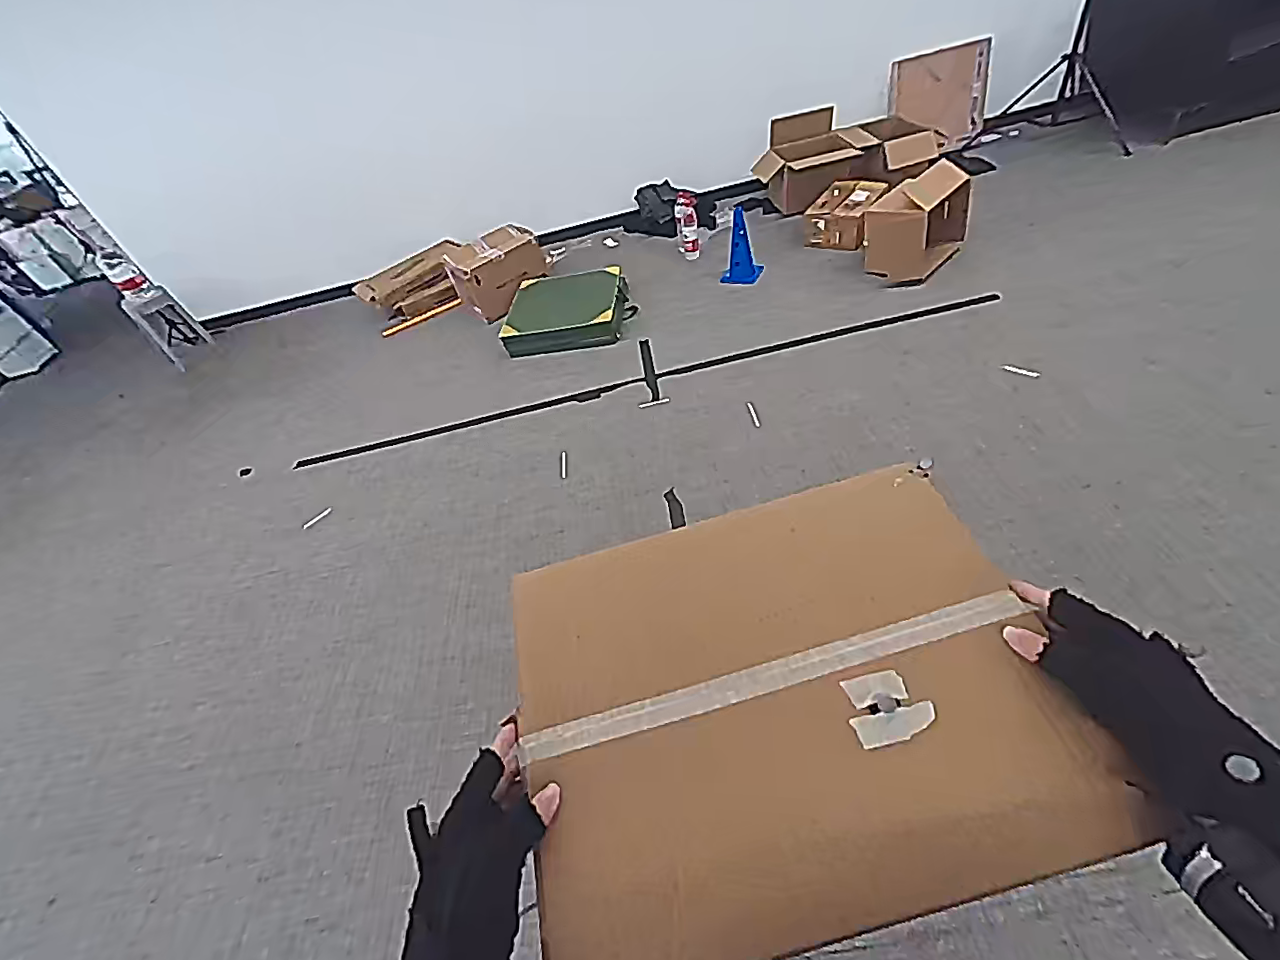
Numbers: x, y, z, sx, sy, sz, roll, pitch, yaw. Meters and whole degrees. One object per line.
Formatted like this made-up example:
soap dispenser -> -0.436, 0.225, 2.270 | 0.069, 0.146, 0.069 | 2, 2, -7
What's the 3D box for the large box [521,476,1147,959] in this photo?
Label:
large box -> 0.131, 0.256, 0.552 | 0.408, 0.320, 0.320 | -16, 51, -1
